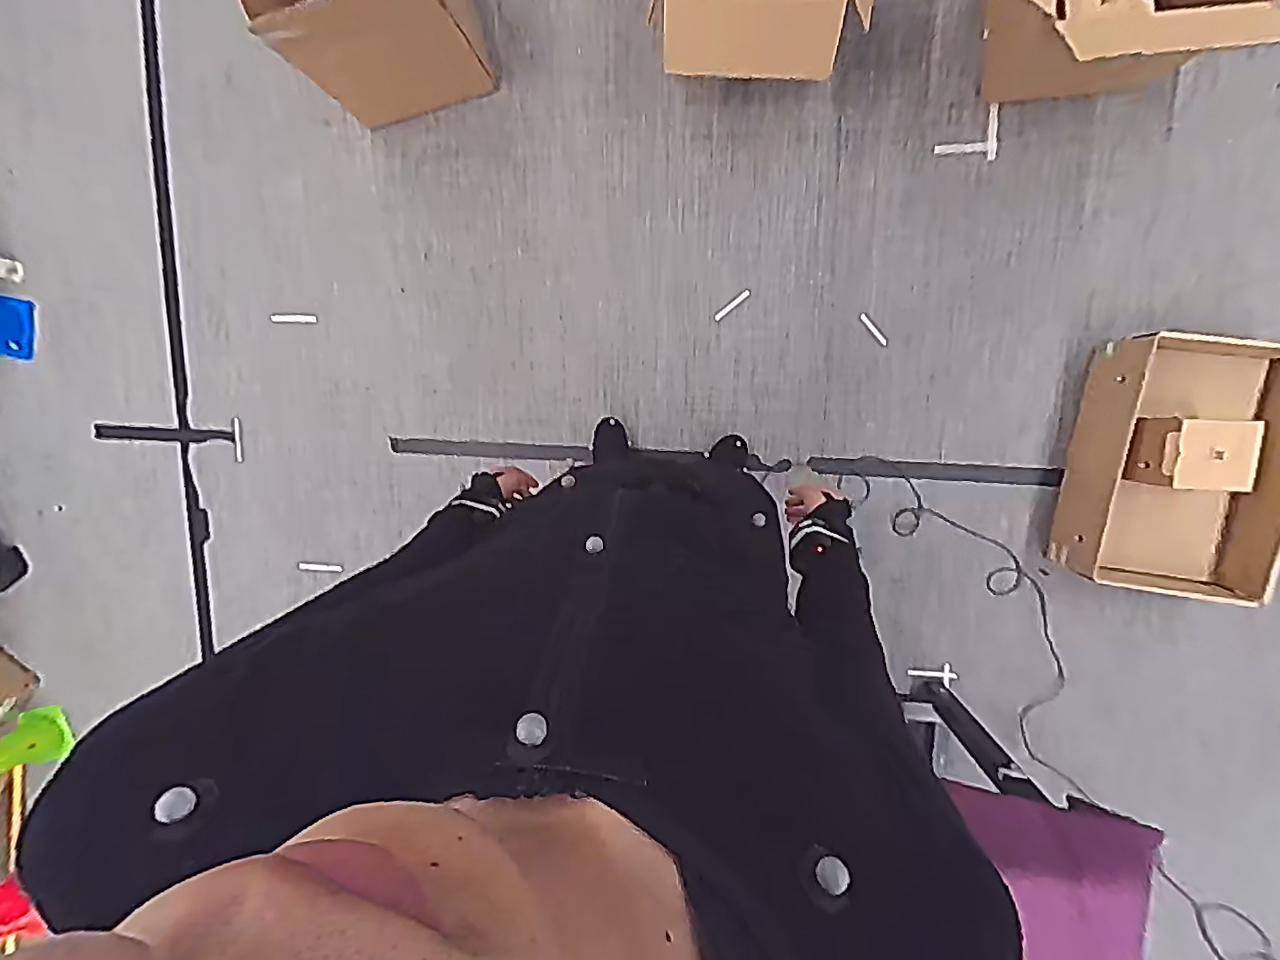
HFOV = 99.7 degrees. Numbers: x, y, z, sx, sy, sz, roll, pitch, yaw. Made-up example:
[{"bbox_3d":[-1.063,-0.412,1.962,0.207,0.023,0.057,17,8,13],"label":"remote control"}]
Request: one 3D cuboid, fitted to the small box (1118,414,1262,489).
[{"bbox_3d":[1.340,-0.075,1.333,0.179,0.176,0.168,3,99,6],"label":"small box"}]
